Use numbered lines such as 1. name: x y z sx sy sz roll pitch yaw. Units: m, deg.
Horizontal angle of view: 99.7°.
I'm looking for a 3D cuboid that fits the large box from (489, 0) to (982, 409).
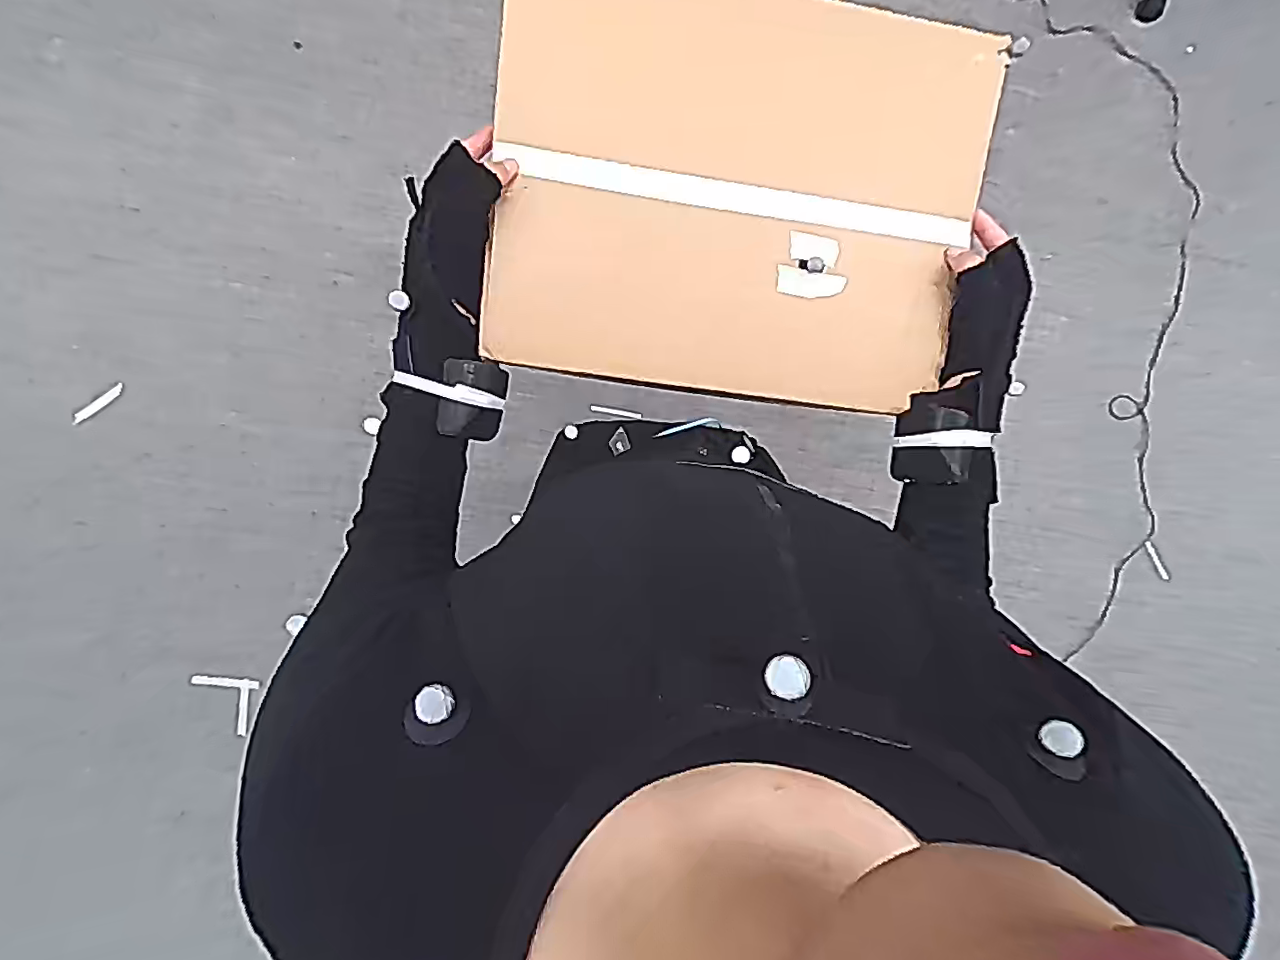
1. large box: 0.064 -0.260 0.607 0.408 0.320 0.320 6 101 -7
